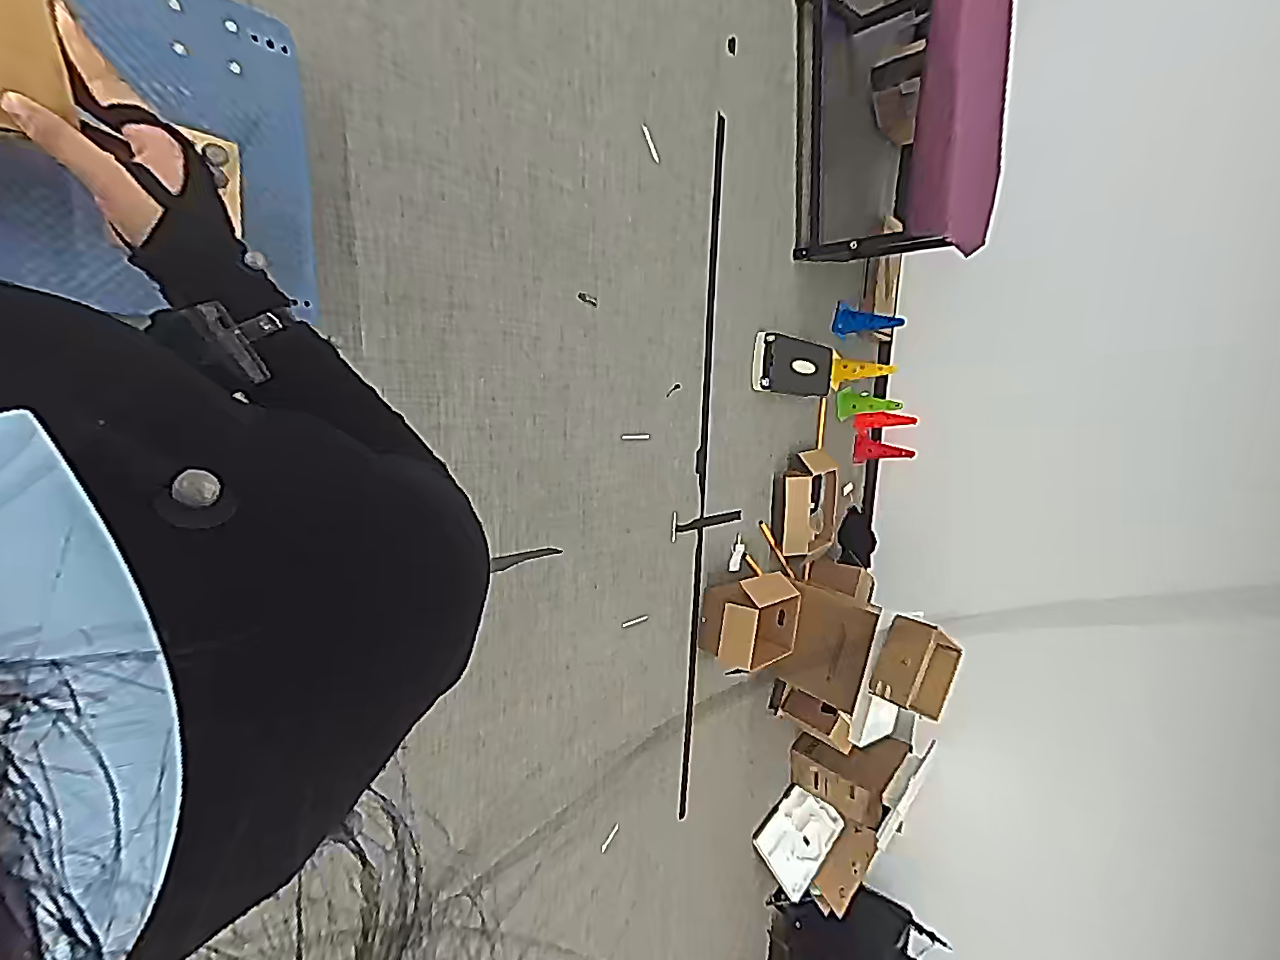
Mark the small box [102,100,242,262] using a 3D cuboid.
[{"bbox_3d":[-0.788,-0.485,0.911,0.168,0.176,0.179,-3,100,-45],"label":"small box"}]
